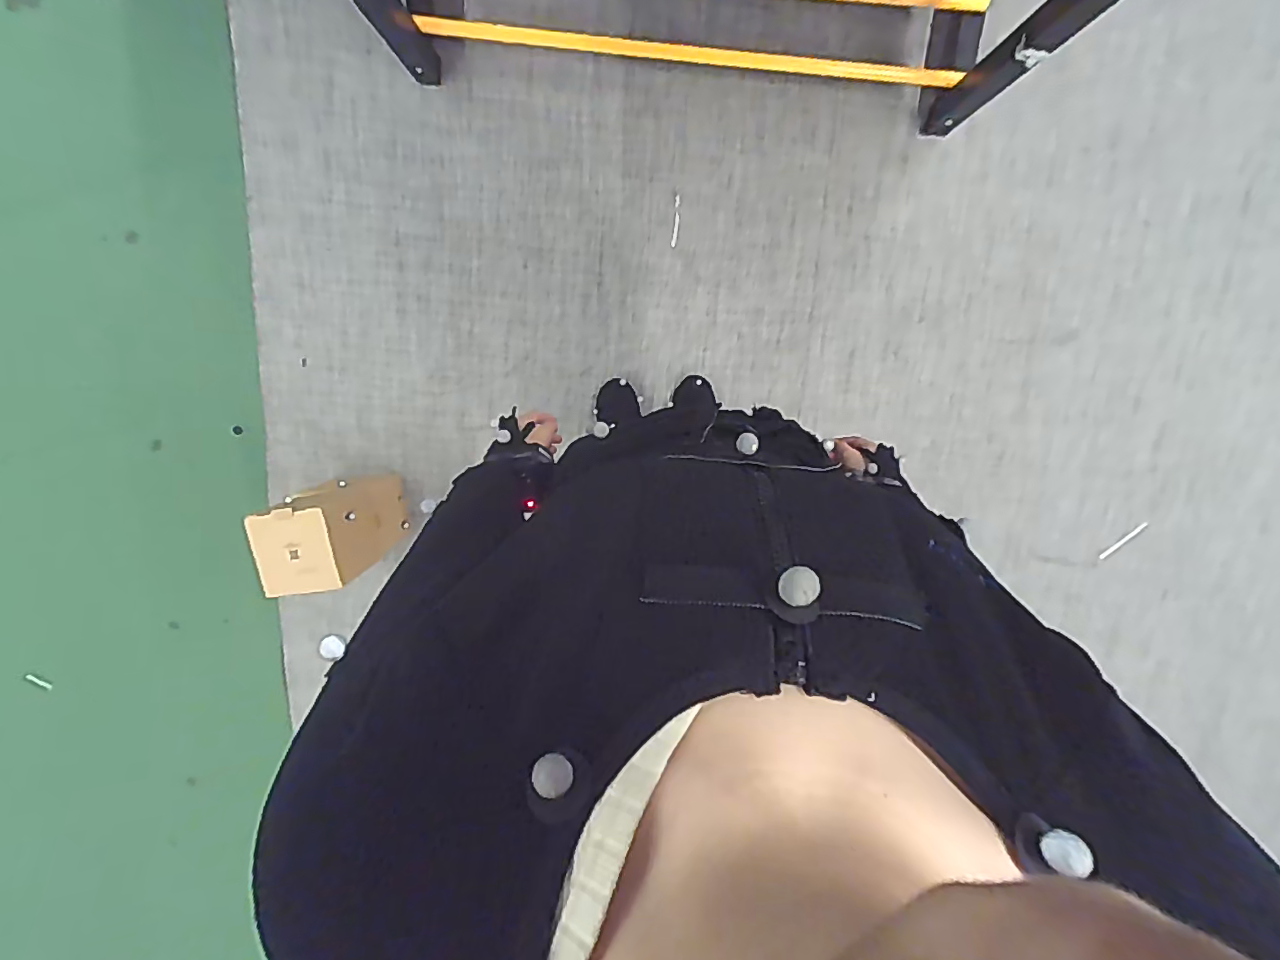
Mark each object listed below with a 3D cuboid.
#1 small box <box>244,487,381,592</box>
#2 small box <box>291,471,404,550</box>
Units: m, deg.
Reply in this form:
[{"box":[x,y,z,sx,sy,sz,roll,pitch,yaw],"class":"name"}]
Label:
[{"box":[-0.687,0.117,1.154,0.168,0.176,0.179,-8,103,4],"class":"small box"},{"box":[-0.695,0.077,1.312,0.179,0.176,0.168,-5,102,2],"class":"small box"}]
